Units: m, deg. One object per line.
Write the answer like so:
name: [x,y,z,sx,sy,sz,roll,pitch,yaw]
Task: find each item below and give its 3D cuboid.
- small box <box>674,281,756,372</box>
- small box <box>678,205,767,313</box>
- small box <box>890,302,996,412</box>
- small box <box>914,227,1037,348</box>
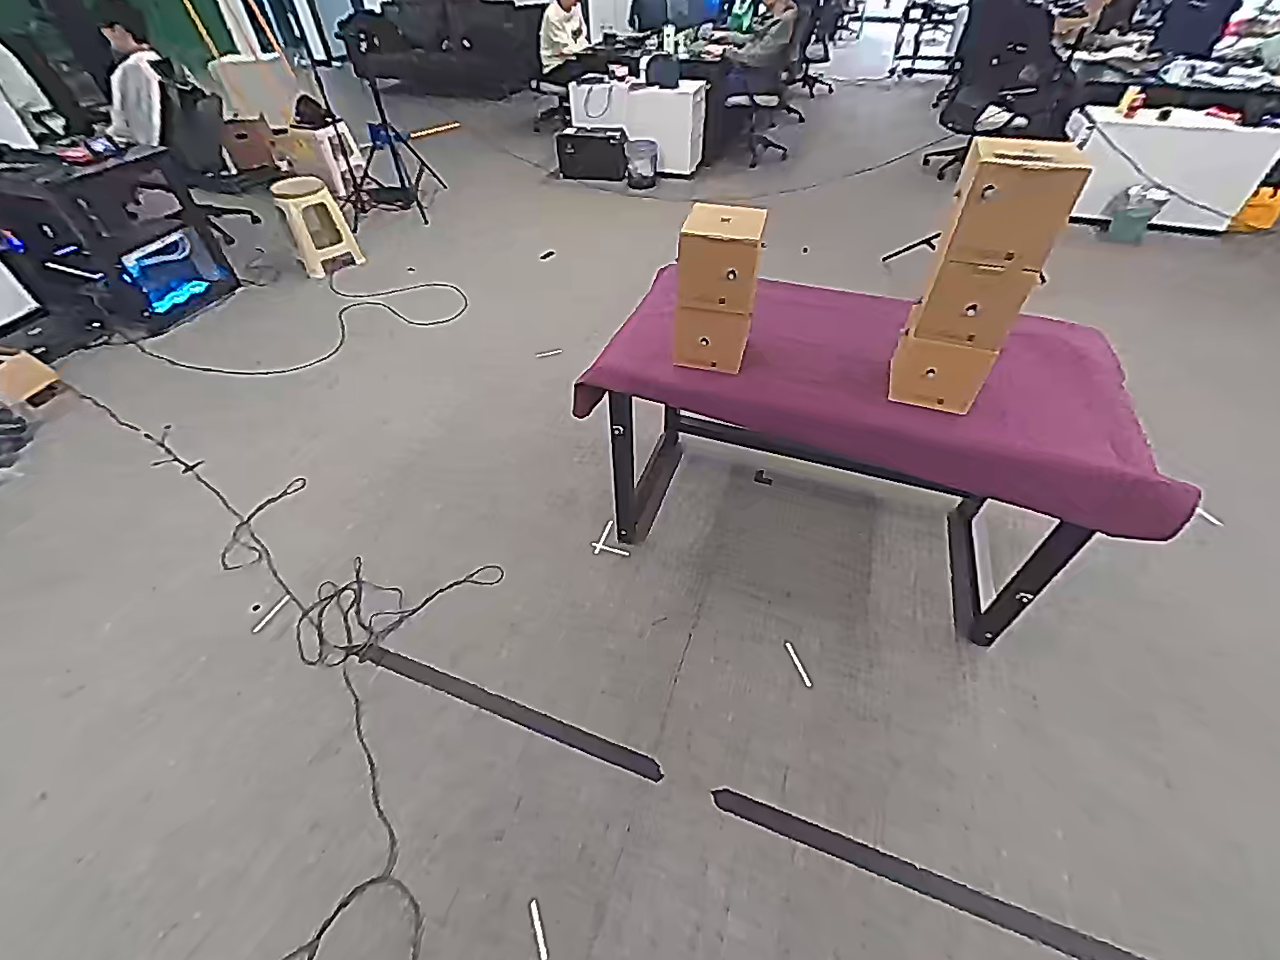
small box: [0.183,-0.387,1.334,0.168,0.176,0.179,12,47,11]
small box: [0.182,-0.495,1.212,0.168,0.176,0.179,11,46,10]
small box: [0.679,-0.277,1.226,0.168,0.176,0.179,14,47,15]
small box: [0.679,-0.394,1.112,0.168,0.176,0.179,15,48,15]
